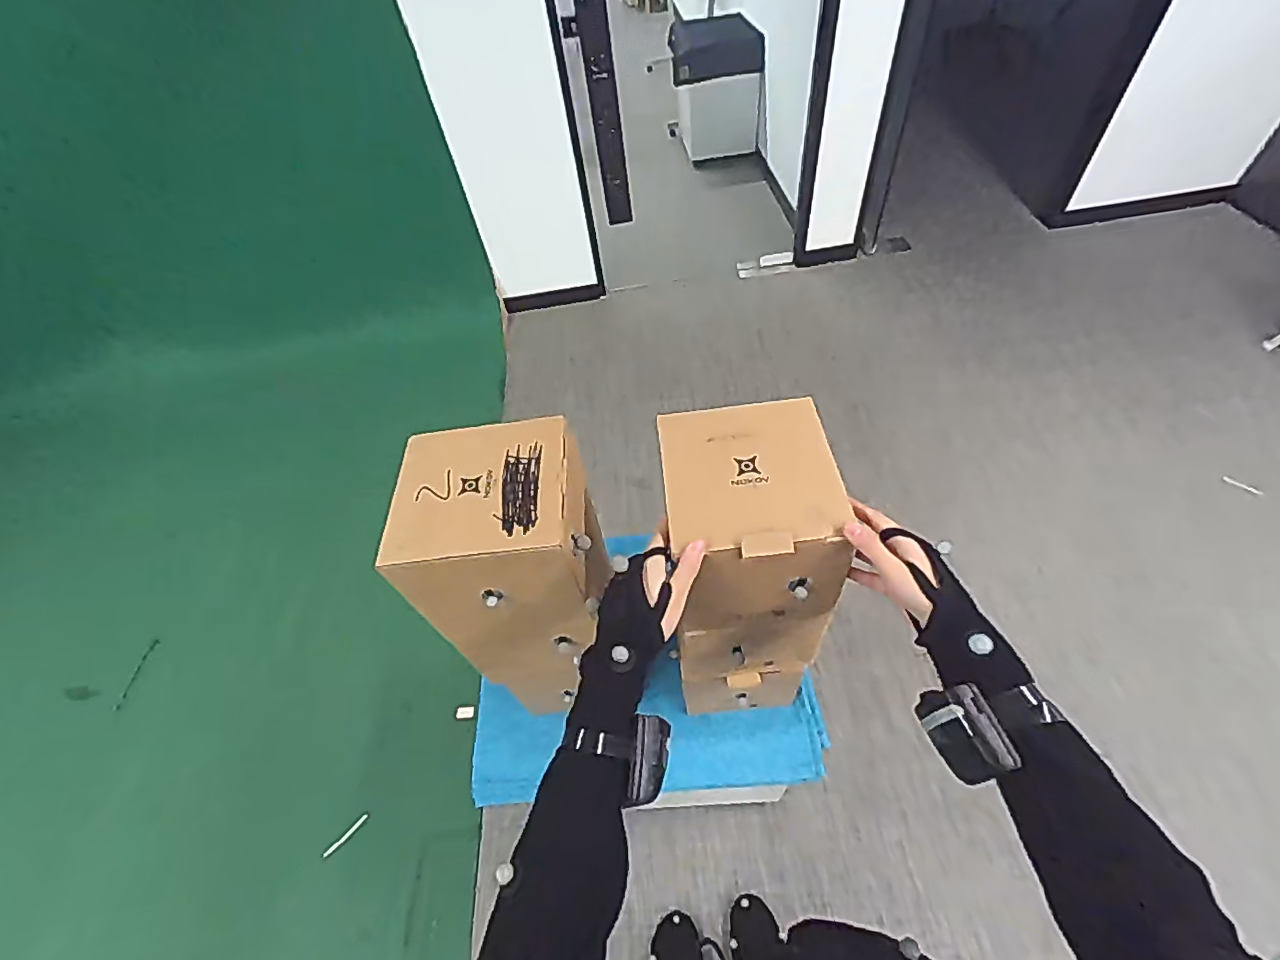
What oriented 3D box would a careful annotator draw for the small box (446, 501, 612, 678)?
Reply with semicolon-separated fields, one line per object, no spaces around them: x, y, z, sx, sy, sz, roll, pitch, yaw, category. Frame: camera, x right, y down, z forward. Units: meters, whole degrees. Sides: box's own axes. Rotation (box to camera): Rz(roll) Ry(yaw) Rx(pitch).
-0.131;0.149;0.719;0.179;0.176;0.168;-7;51;2;small box

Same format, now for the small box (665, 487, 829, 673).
0.129;0.136;0.699;0.168;0.176;0.179;-9;51;1;small box

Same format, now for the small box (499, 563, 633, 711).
-0.105;0.249;0.847;0.179;0.176;0.168;-7;51;2;small box

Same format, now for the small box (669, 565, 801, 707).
0.138;0.237;0.826;0.168;0.176;0.179;-6;52;2;small box
